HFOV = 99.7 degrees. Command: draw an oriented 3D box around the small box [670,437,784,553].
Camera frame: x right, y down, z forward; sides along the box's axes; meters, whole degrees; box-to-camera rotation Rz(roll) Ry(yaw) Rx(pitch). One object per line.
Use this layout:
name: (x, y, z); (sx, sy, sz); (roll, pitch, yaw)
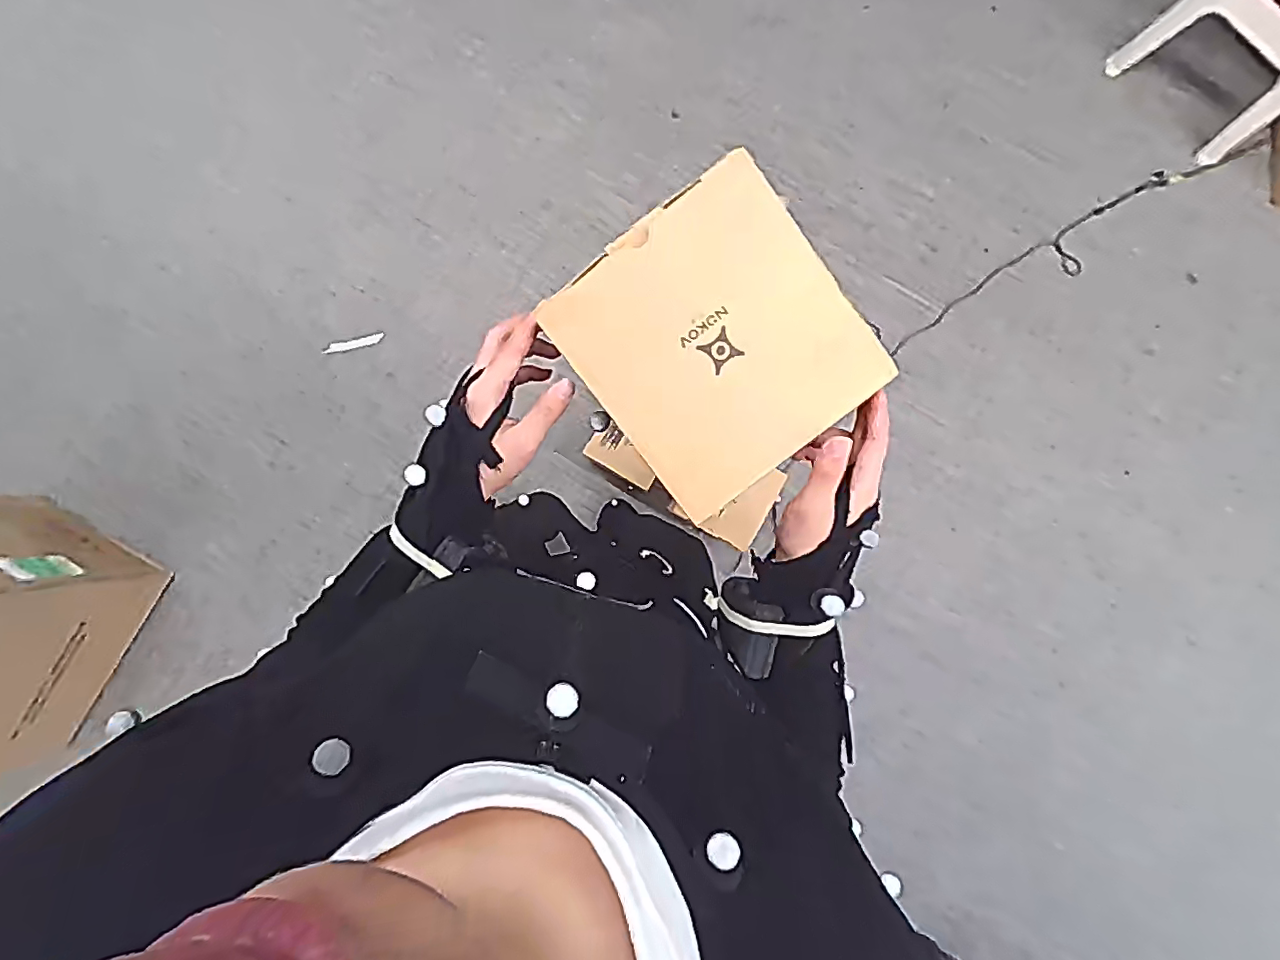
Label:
small box: (0.170, 0.032, 1.134); (0.168, 0.176, 0.179); (30, 88, 2)
